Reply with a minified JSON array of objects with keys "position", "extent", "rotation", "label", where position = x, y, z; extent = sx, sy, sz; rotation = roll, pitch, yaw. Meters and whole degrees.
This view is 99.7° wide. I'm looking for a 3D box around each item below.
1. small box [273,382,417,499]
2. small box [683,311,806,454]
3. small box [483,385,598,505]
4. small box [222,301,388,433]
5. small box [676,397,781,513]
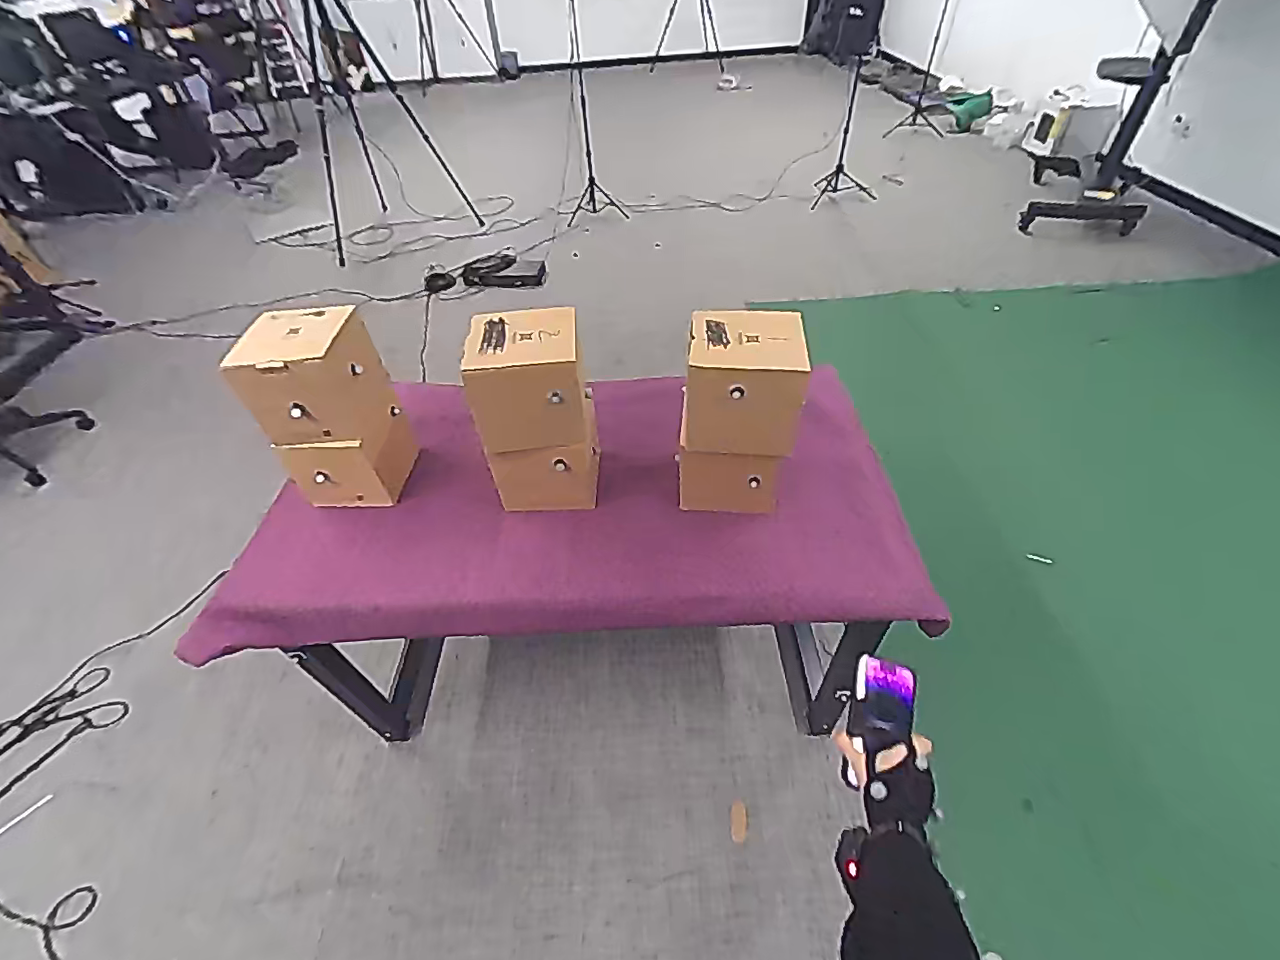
[{"position":[-0.567,-0.075,1.072],"extent":[0.168,0.176,0.179],"rotation":[0,46,3],"label":"small box"},{"position":[0.162,-0.157,0.880],"extent":[0.179,0.176,0.168],"rotation":[4,46,7],"label":"small box"},{"position":[-0.178,-0.064,1.036],"extent":[0.179,0.176,0.168],"rotation":[-1,46,3],"label":"small box"},{"position":[-0.575,-0.195,0.959],"extent":[0.168,0.176,0.179],"rotation":[-3,47,-1],"label":"small box"},{"position":[0.162,-0.055,1.009],"extent":[0.179,0.176,0.168],"rotation":[4,46,8],"label":"small box"}]
